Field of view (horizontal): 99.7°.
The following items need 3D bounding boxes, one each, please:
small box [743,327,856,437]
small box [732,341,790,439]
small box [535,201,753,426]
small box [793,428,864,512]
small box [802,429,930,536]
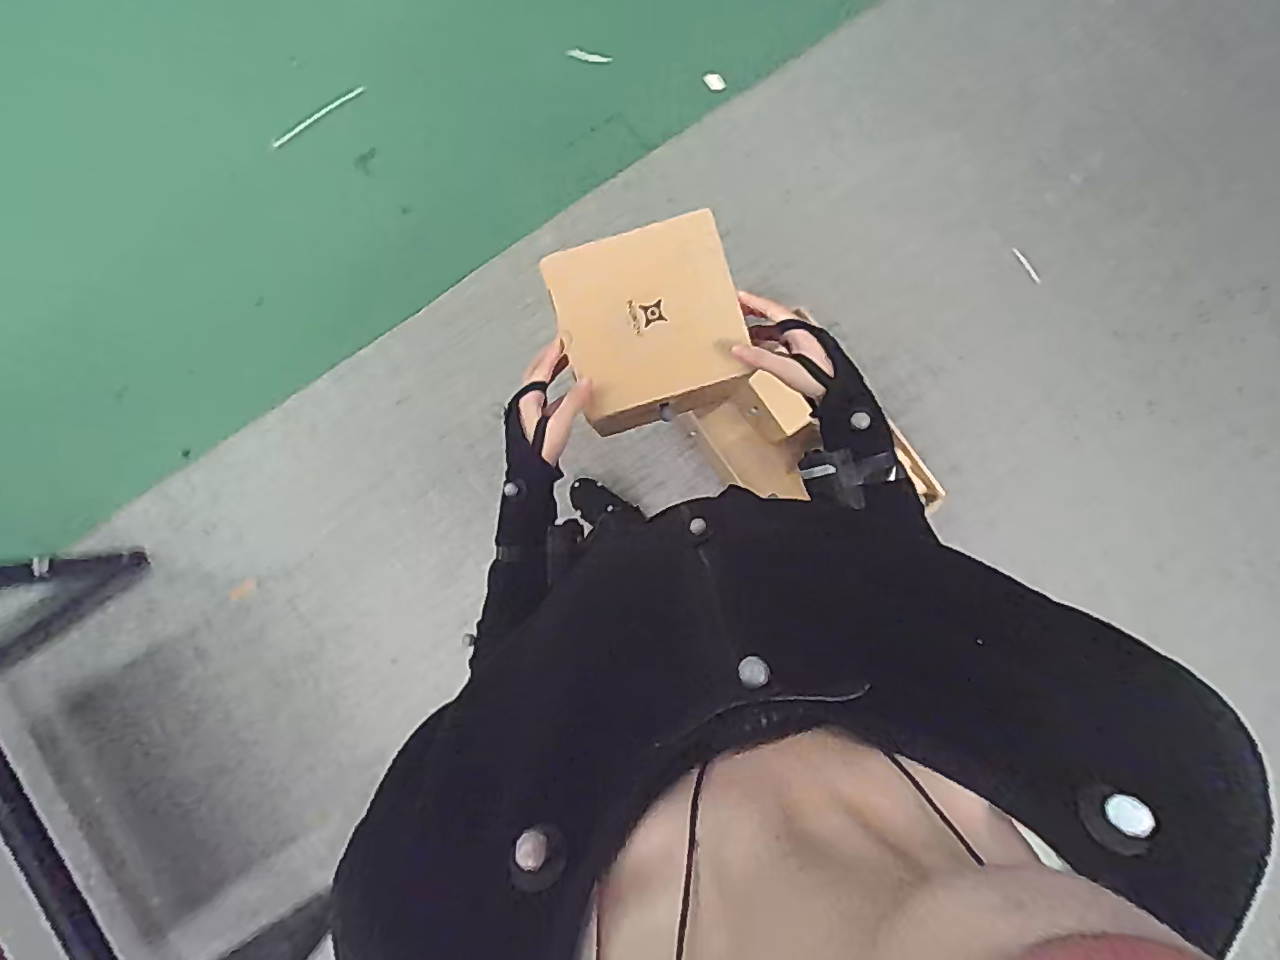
[{"bbox_3d":[0.350,-0.213,1.233,0.179,0.176,0.168,-35,89,2],"label":"small box"},{"bbox_3d":[0.357,-0.223,1.397,0.168,0.176,0.179,-39,89,1],"label":"small box"},{"bbox_3d":[0.005,-0.166,0.596,0.179,0.176,0.168,-18,89,2],"label":"small box"},{"bbox_3d":[0.520,-0.007,1.385,0.168,0.176,0.179,-40,88,1],"label":"small box"},{"bbox_3d":[0.499,0.008,1.222,0.179,0.176,0.168,-36,87,0],"label":"small box"}]
